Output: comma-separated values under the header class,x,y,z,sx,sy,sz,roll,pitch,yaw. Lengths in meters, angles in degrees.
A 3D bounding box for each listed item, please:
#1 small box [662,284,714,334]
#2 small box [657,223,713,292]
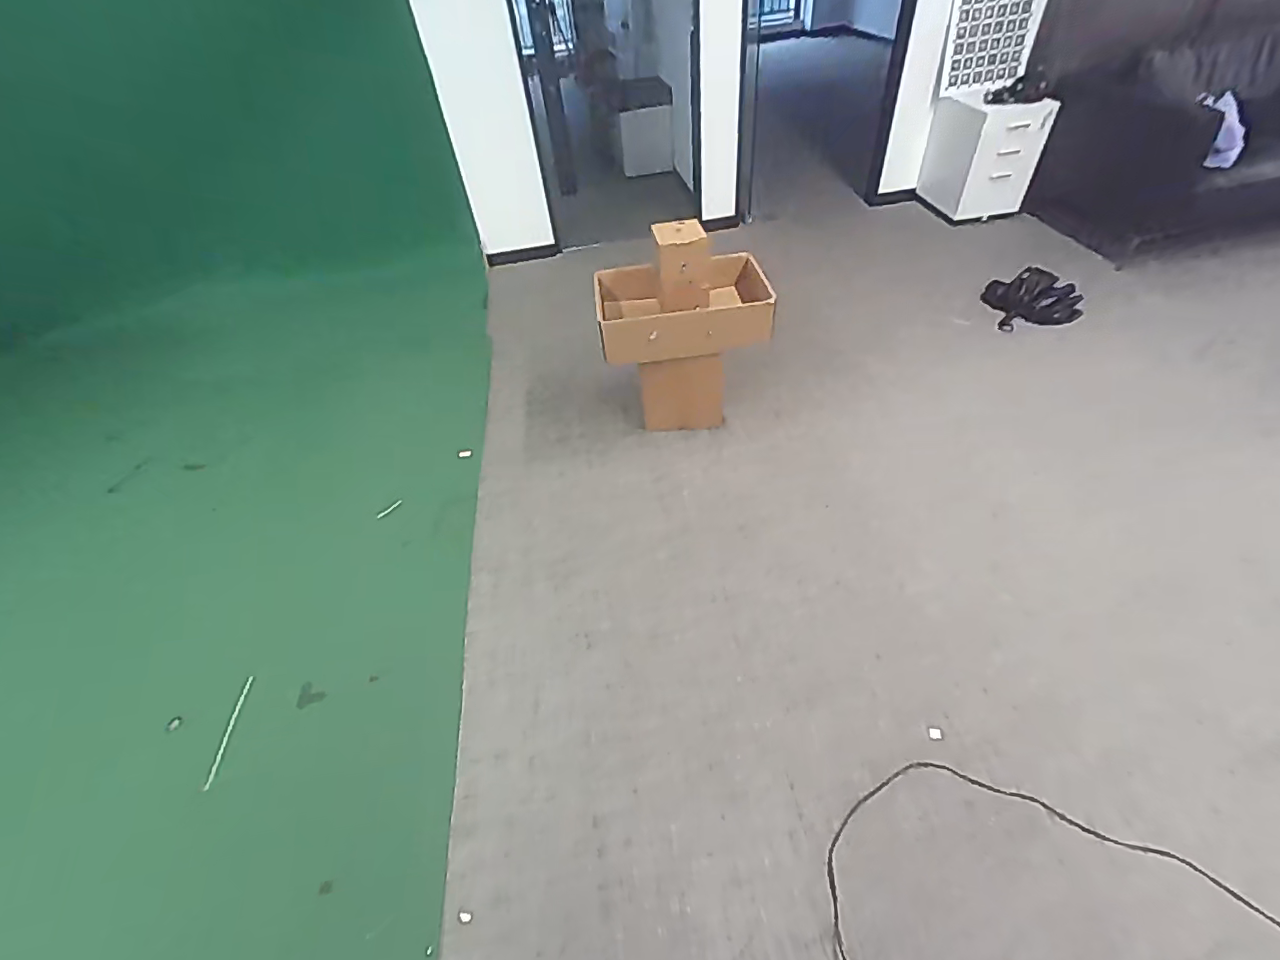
class,x,y,z,sx,sy,sz,roll,pitch,yaw
small box,0.178,-0.653,2.001,0.168,0.176,0.179,-8,43,-2
small box,0.157,-0.769,1.887,0.168,0.176,0.179,-8,46,-2
